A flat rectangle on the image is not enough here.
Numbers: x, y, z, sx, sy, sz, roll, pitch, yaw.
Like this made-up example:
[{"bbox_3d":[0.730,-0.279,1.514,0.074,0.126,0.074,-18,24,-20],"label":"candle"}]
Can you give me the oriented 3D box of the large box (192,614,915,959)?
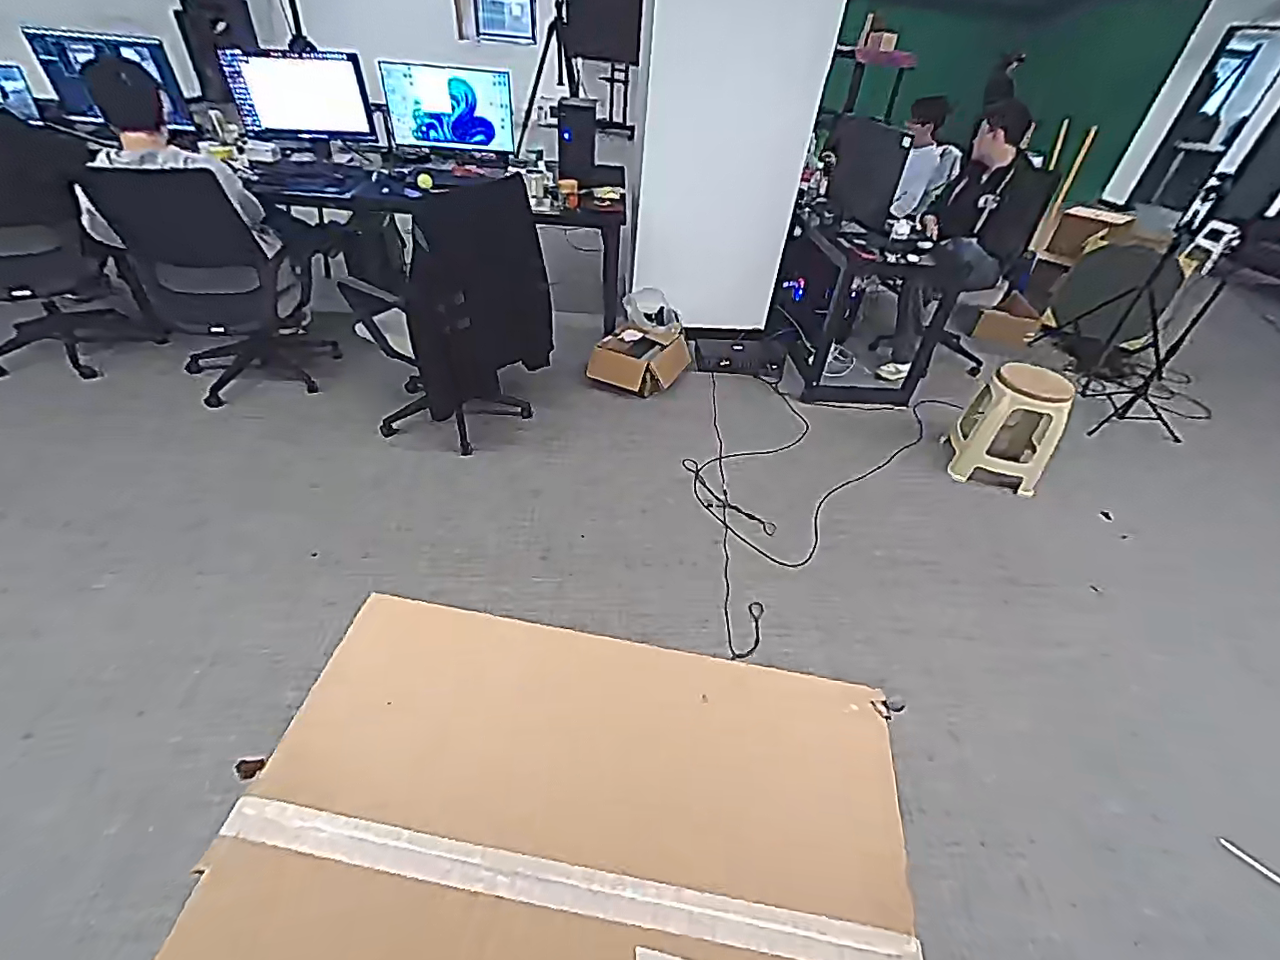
[{"bbox_3d":[-0.048,0.347,0.430,0.408,0.320,0.320,10,47,3],"label":"large box"}]
